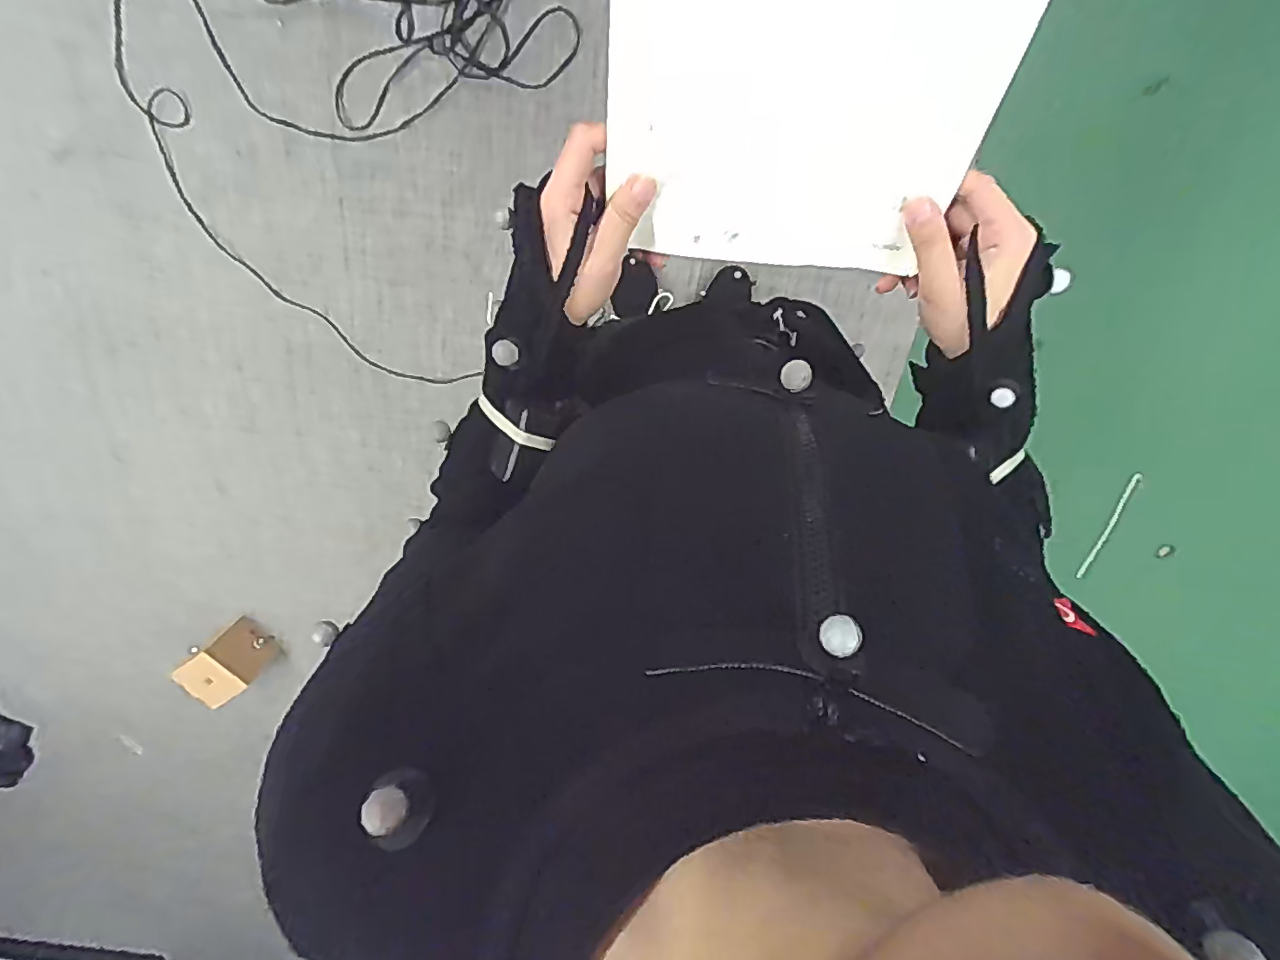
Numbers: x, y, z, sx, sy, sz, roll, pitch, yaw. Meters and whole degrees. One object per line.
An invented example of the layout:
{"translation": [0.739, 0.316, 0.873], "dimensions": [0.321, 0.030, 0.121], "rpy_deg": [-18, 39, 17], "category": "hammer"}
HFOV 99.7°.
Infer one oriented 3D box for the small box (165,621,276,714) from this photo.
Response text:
{"translation": [-1.272, 0.570, 1.653], "dimensions": [0.179, 0.176, 0.168], "rpy_deg": [-33, 110, 15], "category": "small box"}
